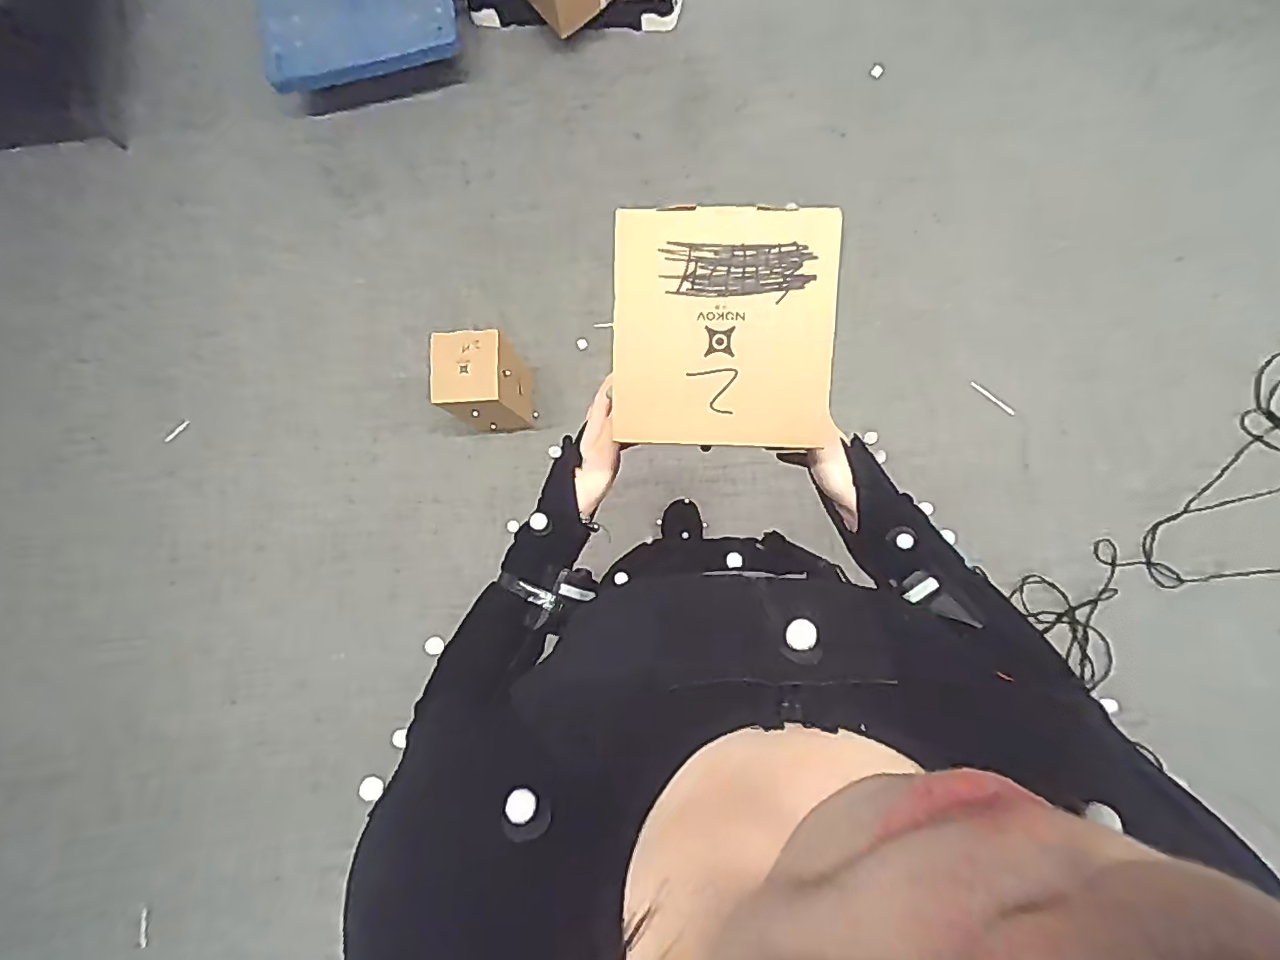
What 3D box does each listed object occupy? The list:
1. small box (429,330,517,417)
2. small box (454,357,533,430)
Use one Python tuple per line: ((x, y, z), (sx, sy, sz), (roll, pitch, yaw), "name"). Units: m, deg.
((-0.408, -0.257, 1.344), (0.168, 0.176, 0.179), (-2, 84, 3), "small box")
((-0.402, -0.237, 1.508), (0.179, 0.176, 0.168), (-3, 84, 5), "small box")
